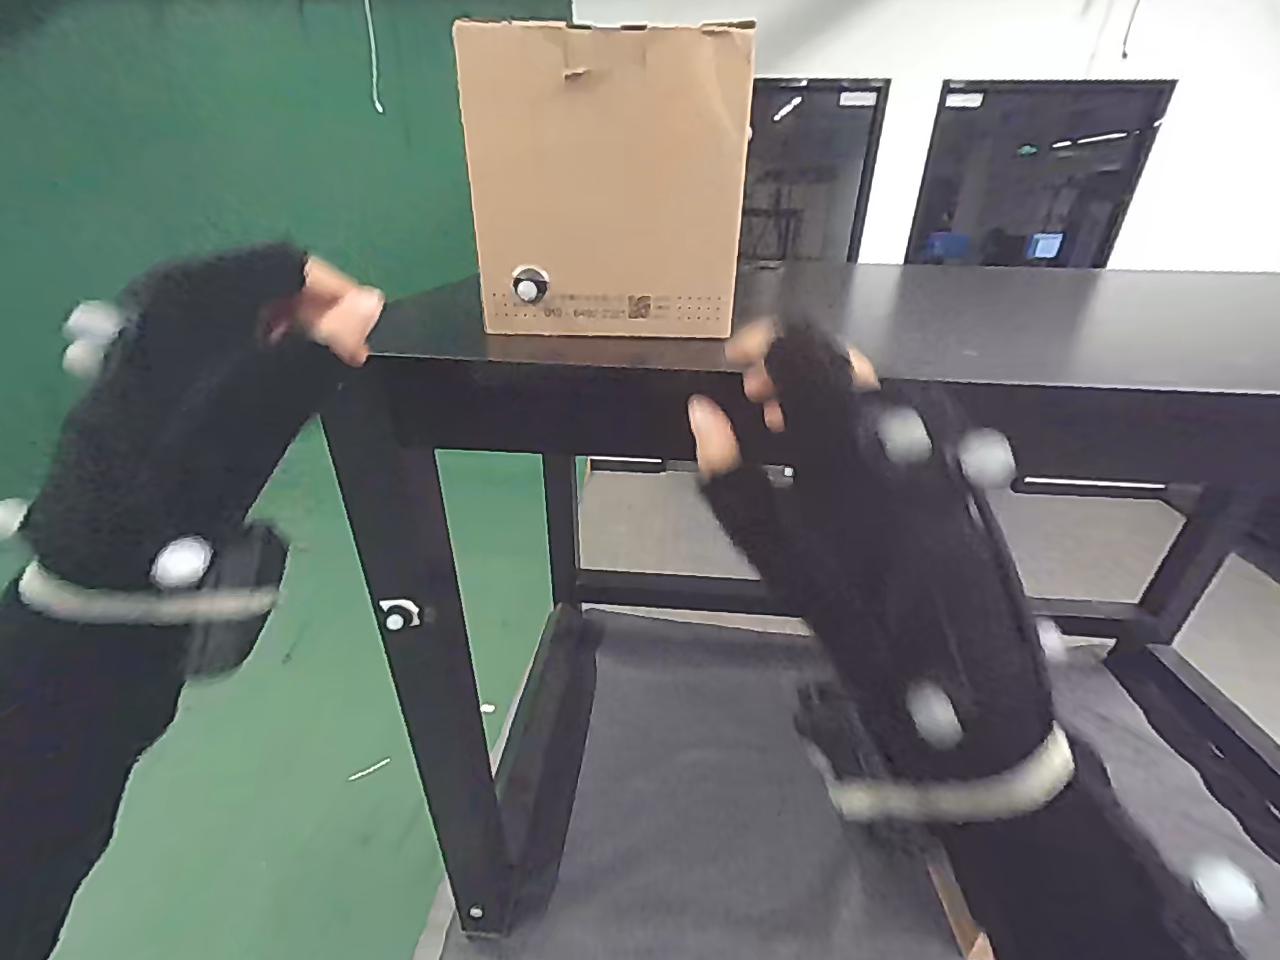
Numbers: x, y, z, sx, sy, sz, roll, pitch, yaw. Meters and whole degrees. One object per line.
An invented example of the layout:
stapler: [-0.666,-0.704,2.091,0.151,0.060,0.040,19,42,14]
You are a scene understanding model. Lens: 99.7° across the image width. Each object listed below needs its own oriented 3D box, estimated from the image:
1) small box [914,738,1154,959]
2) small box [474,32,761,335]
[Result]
small box: [0.483,0.470,0.702,0.168,0.176,0.179,2,26,2]
small box: [-0.012,-0.210,0.410,0.168,0.176,0.179,1,26,-1]
